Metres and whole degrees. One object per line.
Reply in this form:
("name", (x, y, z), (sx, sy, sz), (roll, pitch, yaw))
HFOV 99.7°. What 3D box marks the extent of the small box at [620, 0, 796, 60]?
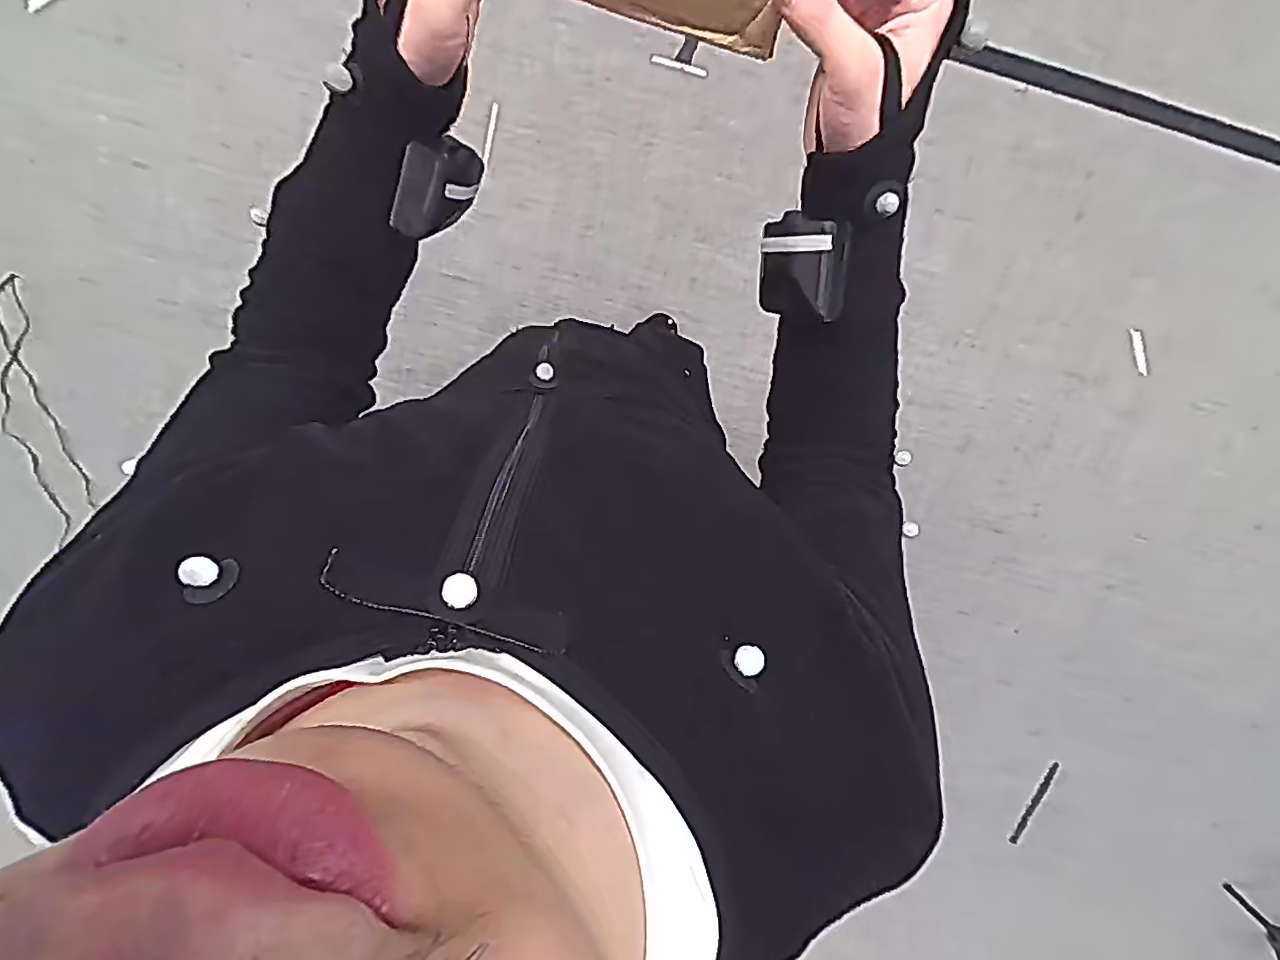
("small box", (0.029, -0.363, 0.260), (0.176, 0.168, 0.179), (18, 72, -2))
